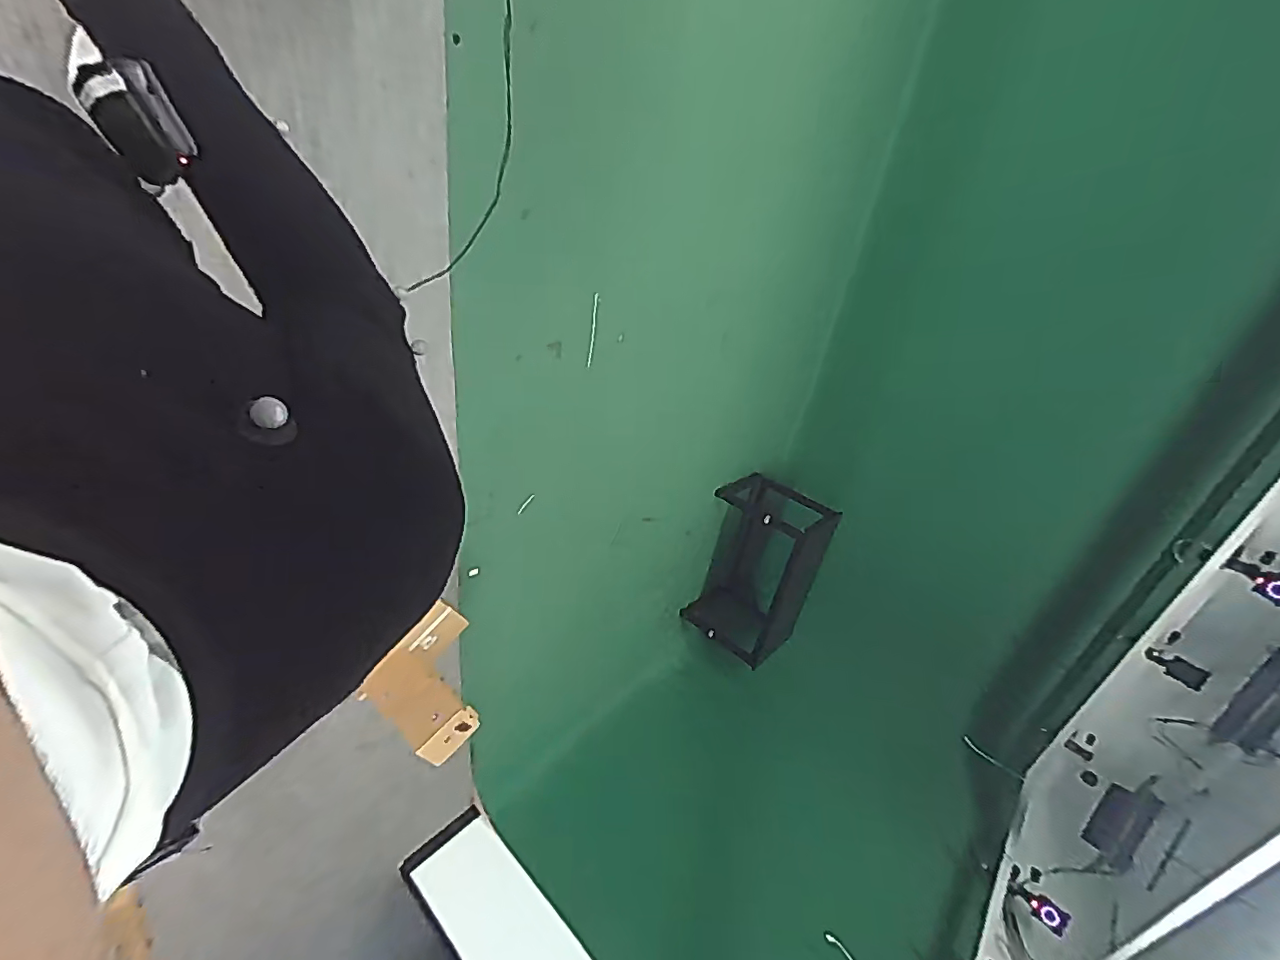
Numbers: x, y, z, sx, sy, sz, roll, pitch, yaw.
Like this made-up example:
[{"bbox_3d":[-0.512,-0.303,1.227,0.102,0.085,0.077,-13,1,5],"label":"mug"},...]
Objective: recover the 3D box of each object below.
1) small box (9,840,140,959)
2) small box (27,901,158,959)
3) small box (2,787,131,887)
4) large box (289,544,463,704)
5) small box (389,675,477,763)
[{"bbox_3d":[-1.188,0.915,1.147,0.168,0.176,0.179,-18,130,-48],"label":"small box"},{"bbox_3d":[-1.068,0.989,1.066,0.168,0.176,0.179,-18,131,-46],"label":"small box"},{"bbox_3d":[-1.307,0.845,1.234,0.168,0.176,0.179,-17,128,-48],"label":"small box"},{"bbox_3d":[-0.939,0.515,1.951,0.408,0.320,0.320,-49,148,-19],"label":"large box"},{"bbox_3d":[-0.671,0.769,1.753,0.179,0.176,0.168,-43,145,-24],"label":"small box"}]
